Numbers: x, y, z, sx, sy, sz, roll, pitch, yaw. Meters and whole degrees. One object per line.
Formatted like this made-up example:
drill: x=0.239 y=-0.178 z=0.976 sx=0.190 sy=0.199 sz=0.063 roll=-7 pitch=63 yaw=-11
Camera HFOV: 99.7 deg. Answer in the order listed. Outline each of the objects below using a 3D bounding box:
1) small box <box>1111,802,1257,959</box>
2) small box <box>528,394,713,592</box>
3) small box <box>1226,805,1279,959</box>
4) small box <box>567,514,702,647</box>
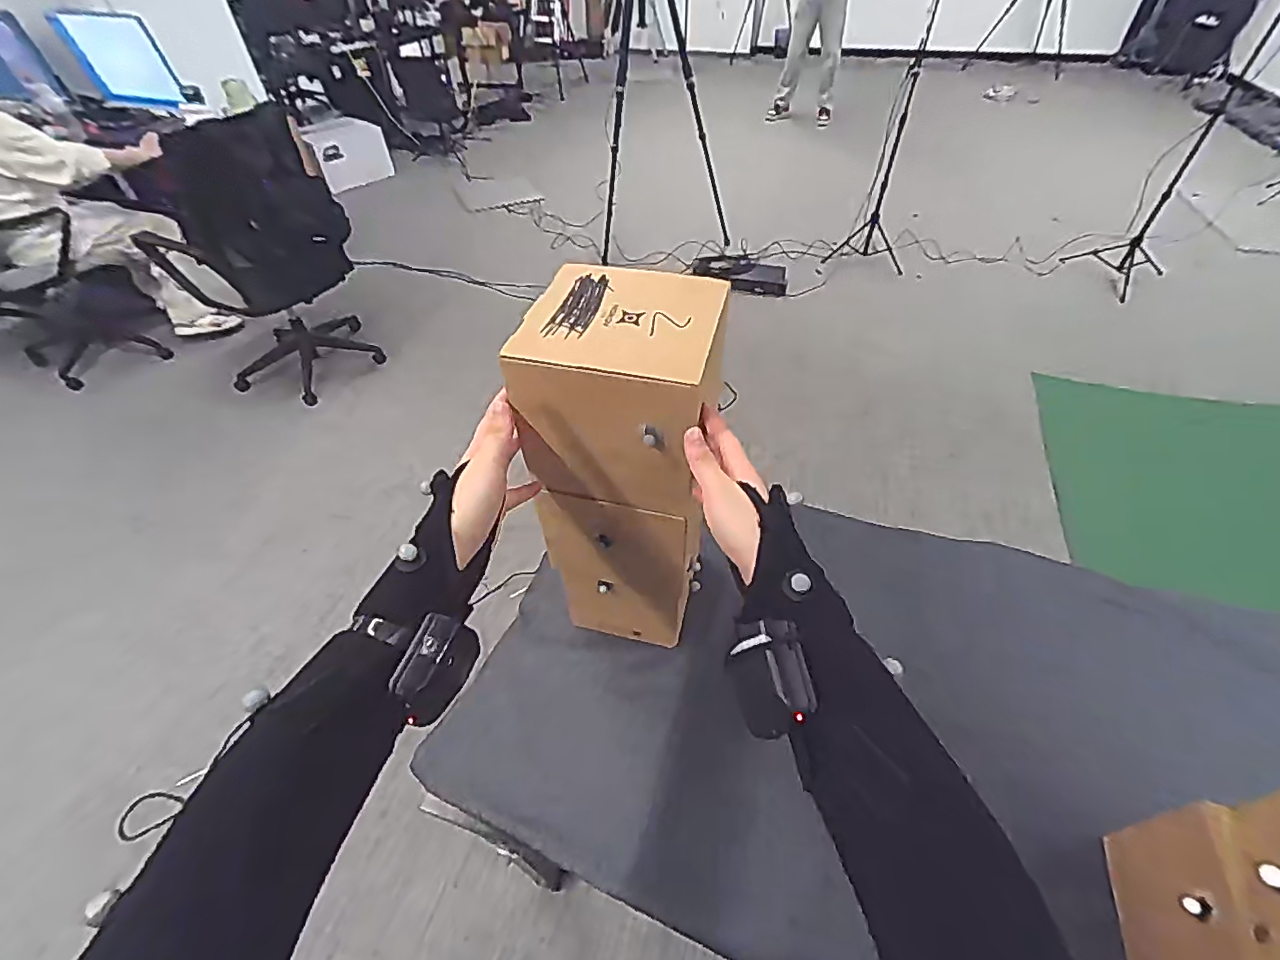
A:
small box: x=0.578 y=0.433 z=0.488 sx=0.168 sy=0.176 sz=0.179 roll=12 pitch=48 yaw=15
small box: x=-0.014 y=0.020 z=0.673 sx=0.179 sy=0.176 sz=0.168 roll=10 pitch=50 yaw=12
small box: x=0.569 y=0.331 z=0.362 sx=0.179 sy=0.176 sz=0.168 roll=21 pitch=50 yaw=22
small box: x=-0.006 y=0.119 z=0.806 sx=0.168 sy=0.176 sz=0.179 roll=10 pitch=48 yaw=11
